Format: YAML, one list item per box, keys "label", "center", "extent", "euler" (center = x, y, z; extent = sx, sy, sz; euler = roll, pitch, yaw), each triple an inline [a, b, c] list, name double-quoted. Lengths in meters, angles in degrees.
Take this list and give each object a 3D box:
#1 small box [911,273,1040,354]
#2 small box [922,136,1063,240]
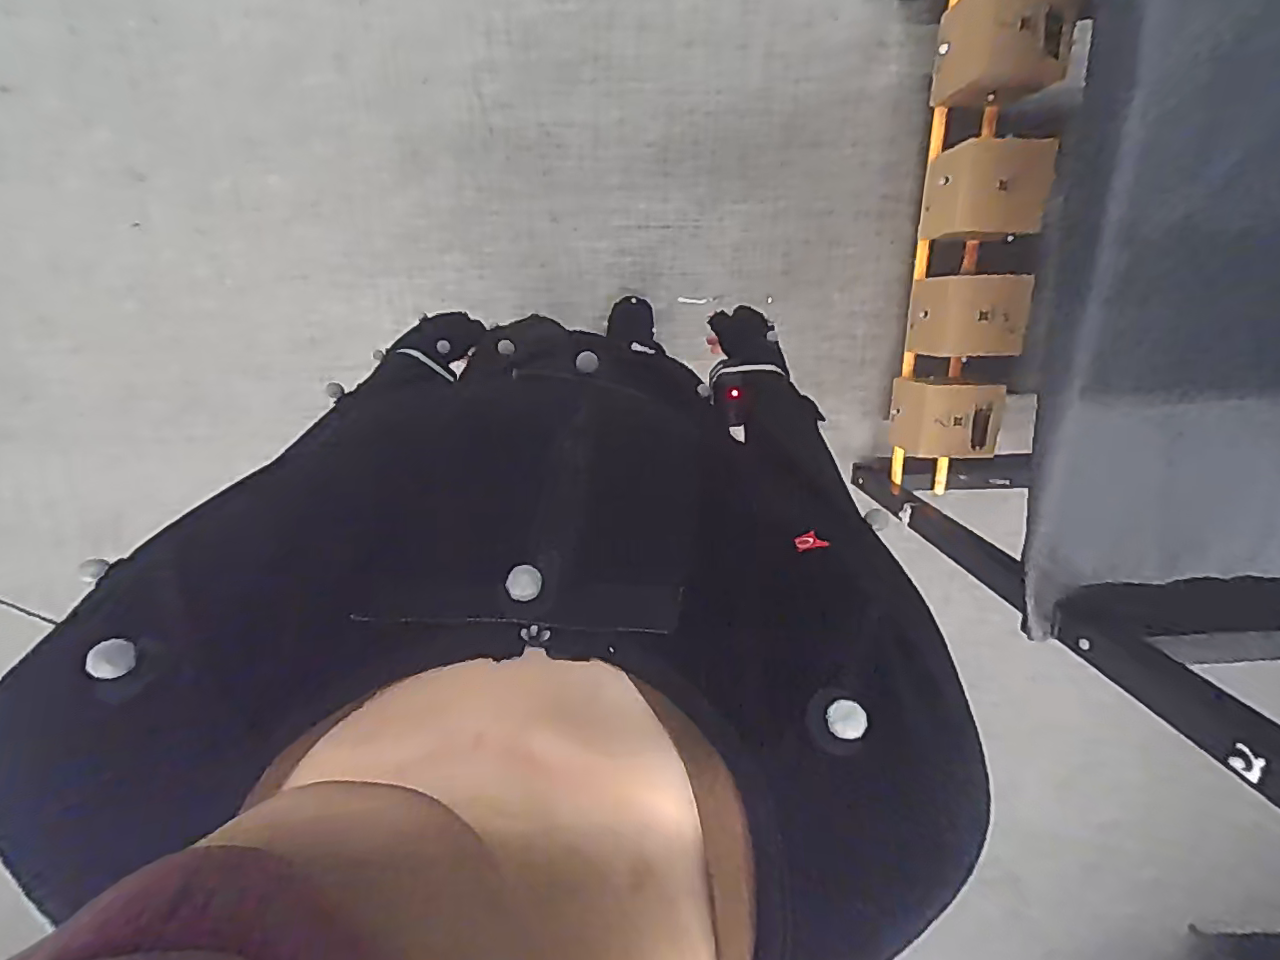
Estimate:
- label: "small box"
  center: [0.733, -0.367, 1.204]
  extent: [0.179, 0.176, 0.168]
  euler: [-1, 107, 0]
- label: "small box"
  center: [0.724, -0.603, 1.134]
  extent: [0.179, 0.176, 0.168]
  euler: [0, 108, 0]
